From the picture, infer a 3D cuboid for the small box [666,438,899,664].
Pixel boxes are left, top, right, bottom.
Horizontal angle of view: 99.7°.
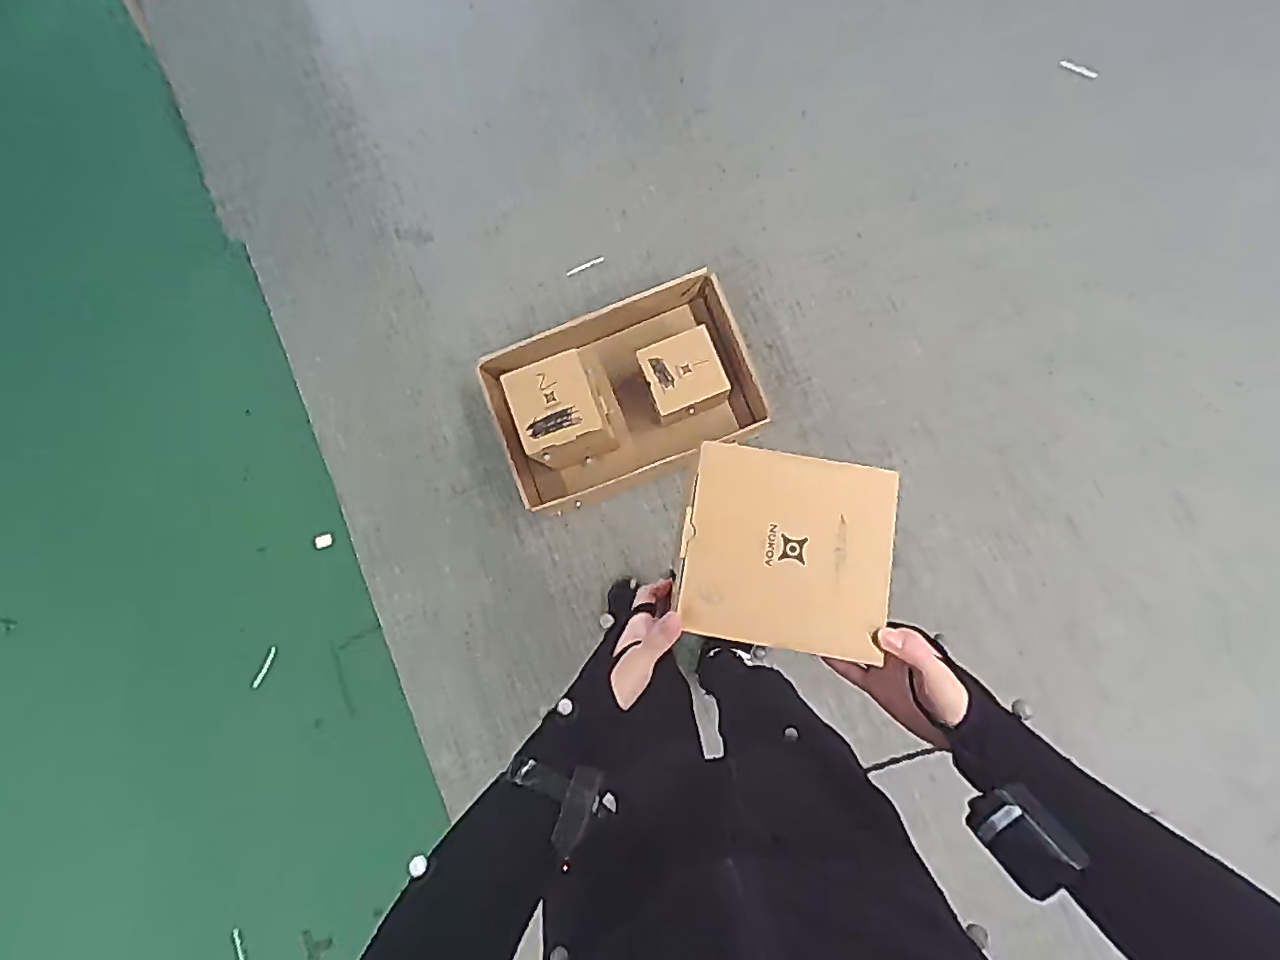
[{"bbox_3d":[0.123,0.071,0.530,0.179,0.176,0.168,10,80,2],"label":"small box"}]
